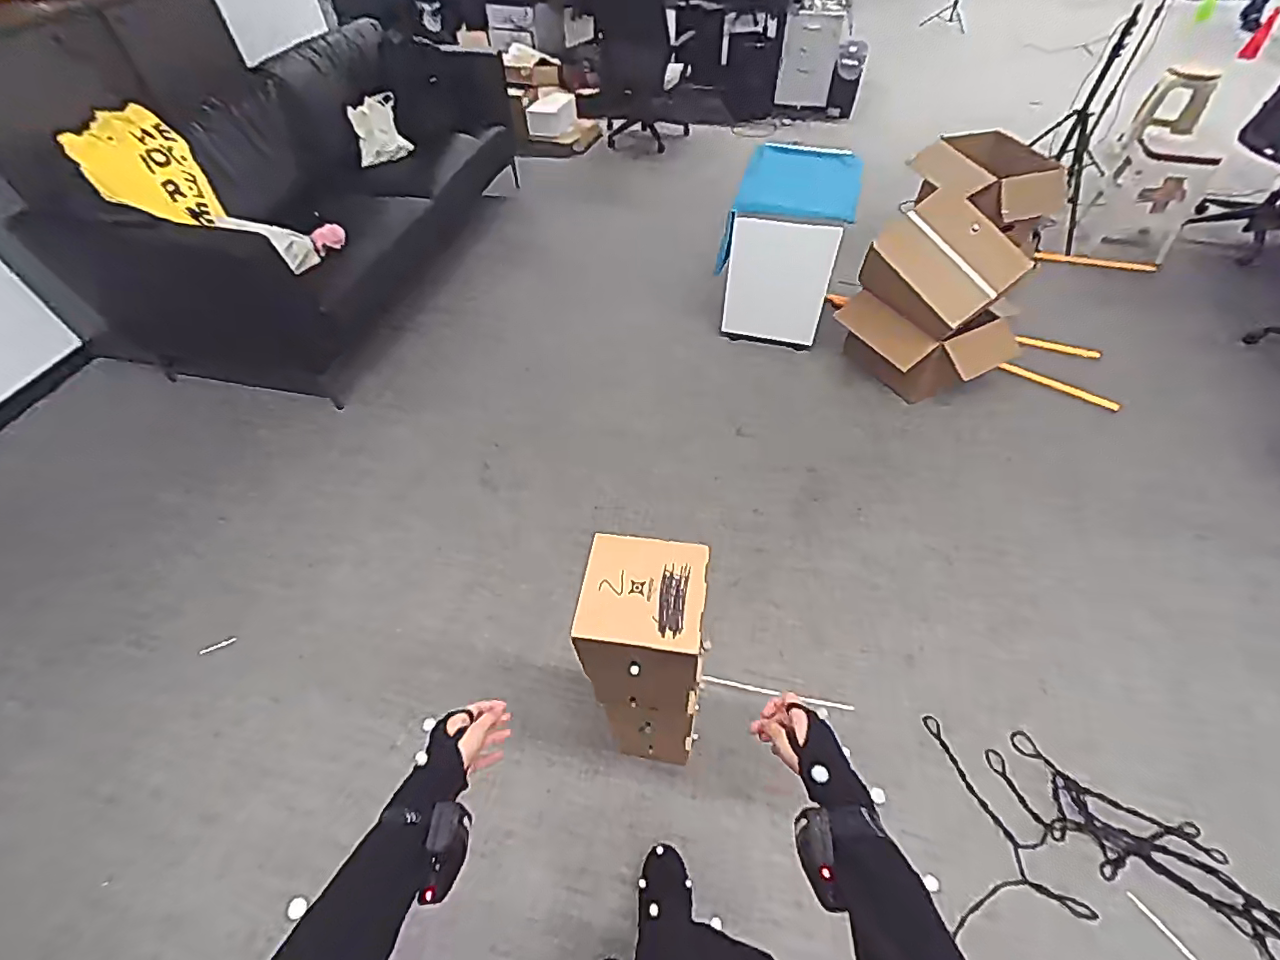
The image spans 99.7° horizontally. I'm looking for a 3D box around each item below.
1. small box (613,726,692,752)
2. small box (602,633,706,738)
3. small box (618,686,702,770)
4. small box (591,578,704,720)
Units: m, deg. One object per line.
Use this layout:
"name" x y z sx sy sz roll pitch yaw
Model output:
"small box" 0.036 0.493 1.215 0.179 0.176 0.168 8 52 9
"small box" 0.031 0.401 1.080 0.179 0.176 0.168 7 51 8
"small box" 0.052 0.600 1.339 0.179 0.176 0.168 8 51 9
"small box" 0.019 0.298 0.953 0.168 0.176 0.179 6 53 9
